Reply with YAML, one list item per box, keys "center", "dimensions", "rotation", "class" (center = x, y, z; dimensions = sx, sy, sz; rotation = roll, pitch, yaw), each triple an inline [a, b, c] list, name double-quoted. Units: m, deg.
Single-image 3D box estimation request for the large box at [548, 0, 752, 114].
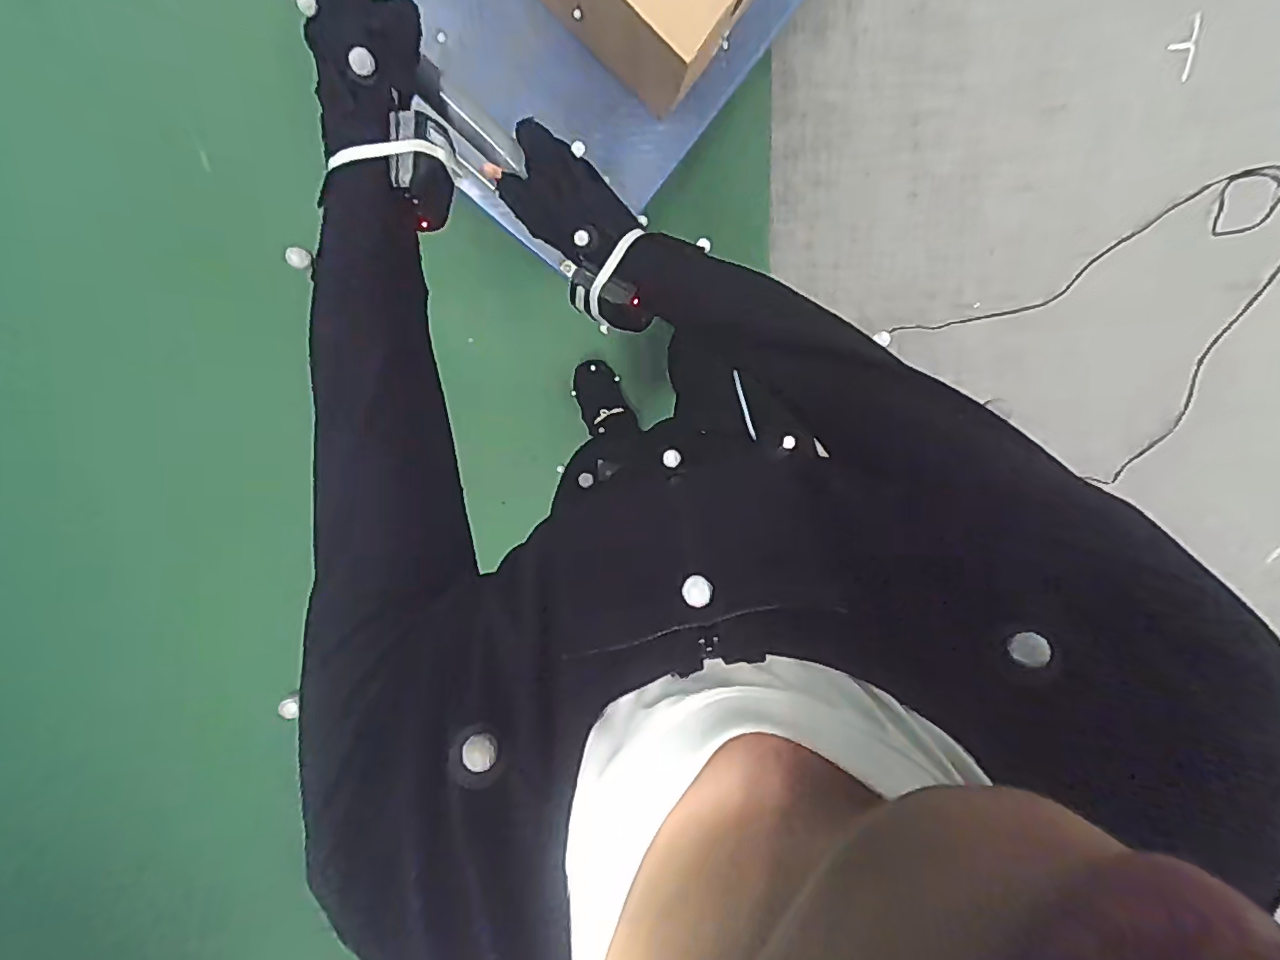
- center: [0.006, -0.885, 0.841]
  dimensions: [0.408, 0.320, 0.320]
  rotation: [37, 104, -15]
  class: "large box"
